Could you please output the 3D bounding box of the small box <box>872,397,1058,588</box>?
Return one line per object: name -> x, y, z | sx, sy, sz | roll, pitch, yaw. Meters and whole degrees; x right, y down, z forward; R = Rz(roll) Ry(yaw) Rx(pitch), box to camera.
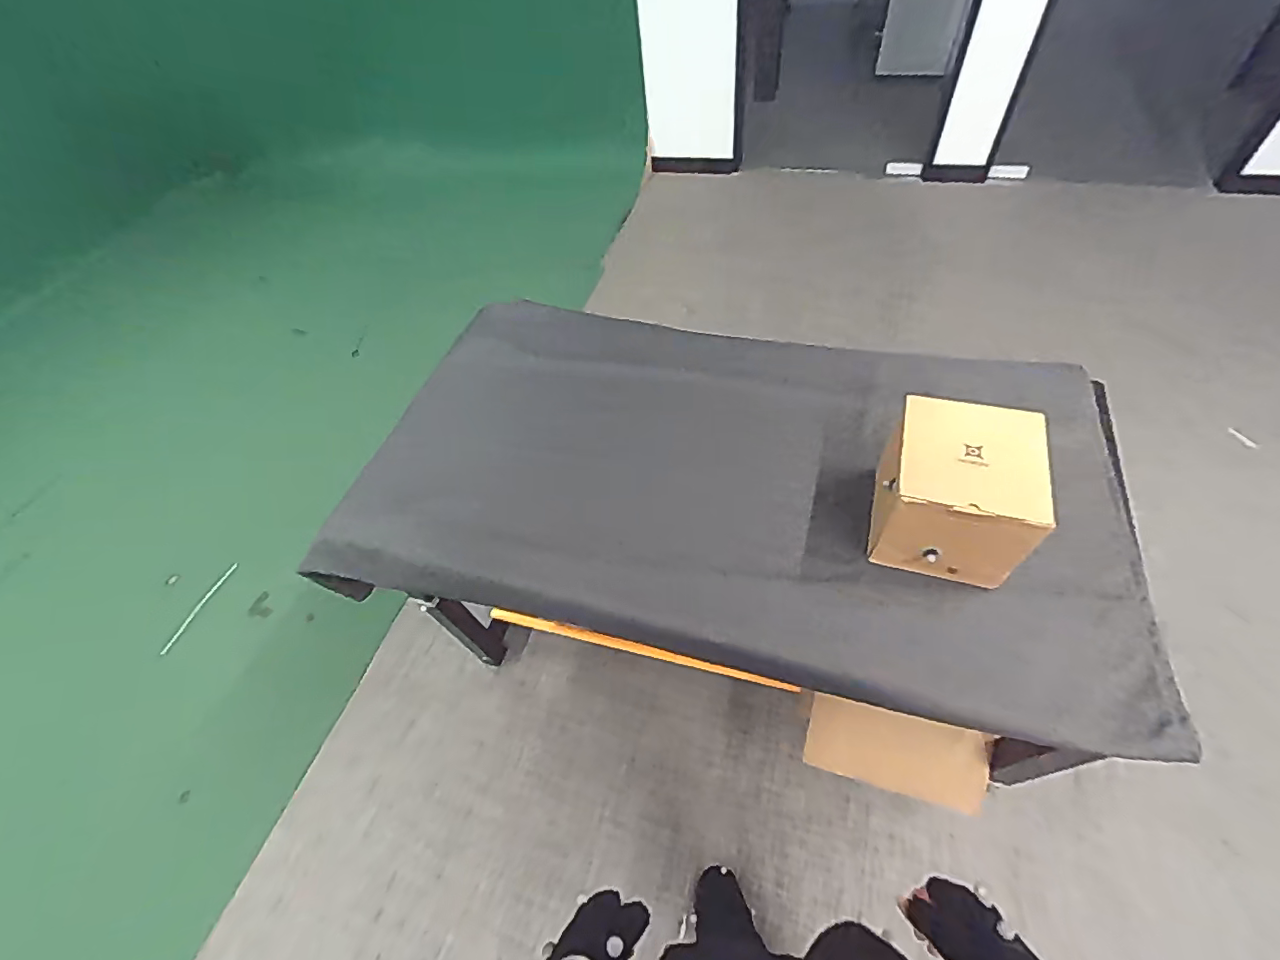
small box -> 0.424, 0.018, 0.732 | 0.168, 0.176, 0.179 | 12, 57, 16
